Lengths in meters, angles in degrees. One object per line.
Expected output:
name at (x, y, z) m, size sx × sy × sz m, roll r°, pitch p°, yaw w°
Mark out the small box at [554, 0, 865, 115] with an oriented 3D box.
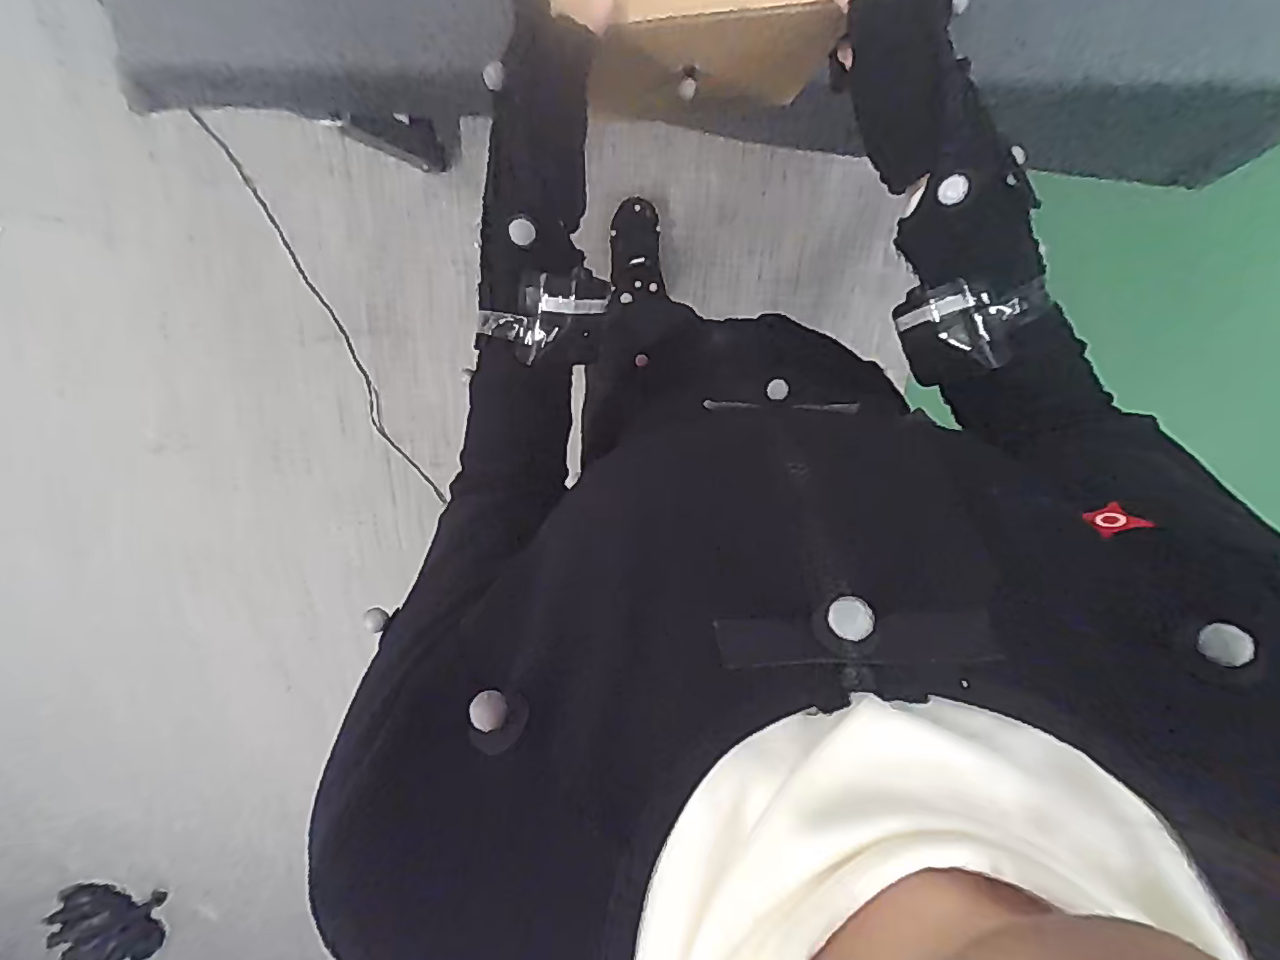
small box at (0.034, -0.359, 0.345) m, size 0.179 × 0.176 × 0.168 m, roll -5°, pitch 108°, yaw 2°
